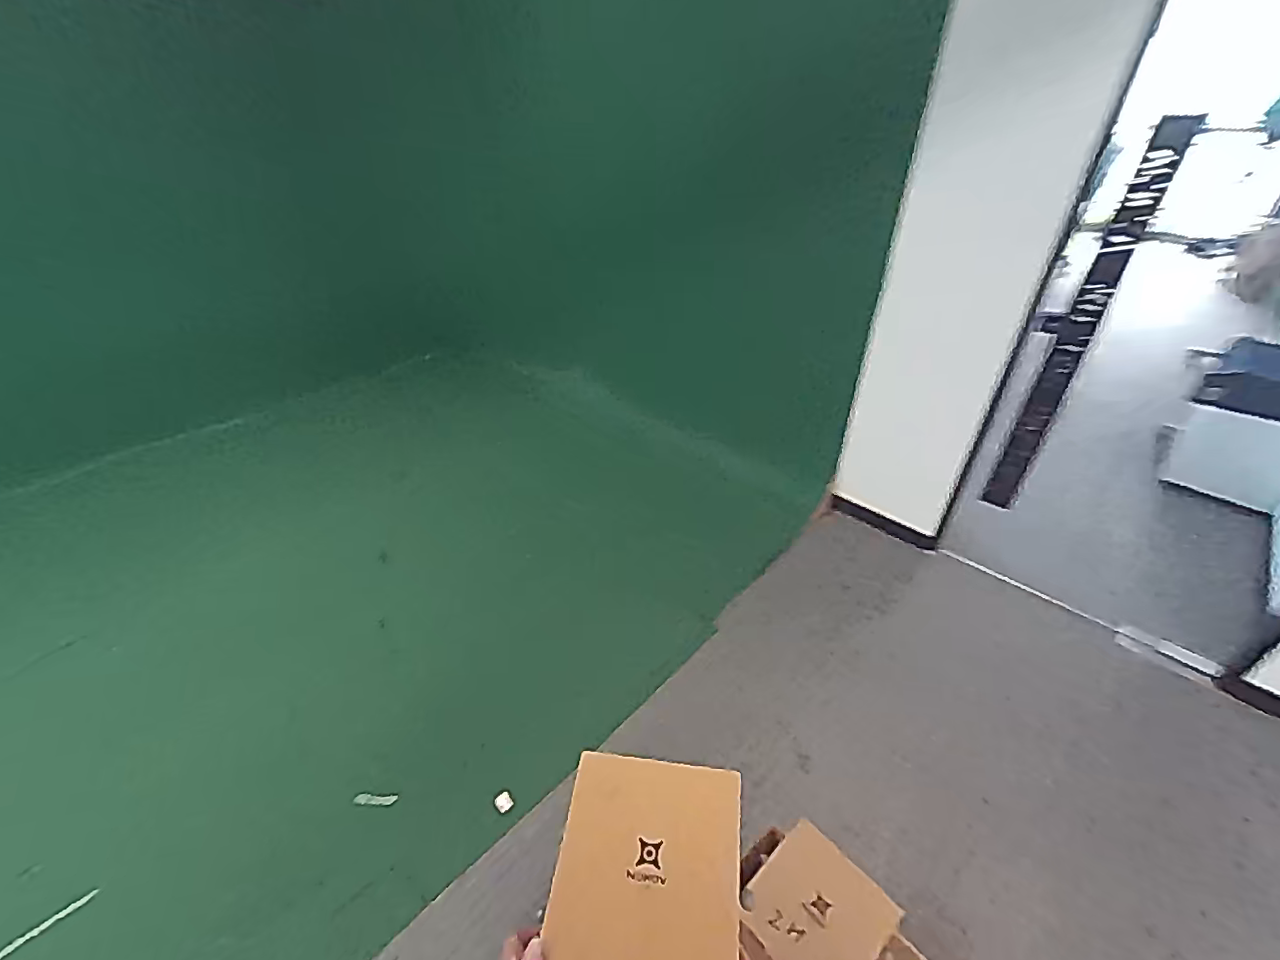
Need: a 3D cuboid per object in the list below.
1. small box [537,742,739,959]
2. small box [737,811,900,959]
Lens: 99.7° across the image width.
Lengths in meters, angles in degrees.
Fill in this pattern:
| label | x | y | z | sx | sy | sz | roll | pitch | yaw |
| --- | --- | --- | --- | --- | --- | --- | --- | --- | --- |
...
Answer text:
| label | x | y | z | sx | sy | sz | roll | pitch | yaw |
| --- | --- | --- | --- | --- | --- | --- | --- | --- | --- |
| small box | 0.007 | 0.397 | 0.544 | 0.168 | 0.176 | 0.179 | 4 | 42 | 7 |
| small box | 0.244 | 0.647 | 0.797 | 0.179 | 0.176 | 0.168 | -29 | 45 | -31 |
